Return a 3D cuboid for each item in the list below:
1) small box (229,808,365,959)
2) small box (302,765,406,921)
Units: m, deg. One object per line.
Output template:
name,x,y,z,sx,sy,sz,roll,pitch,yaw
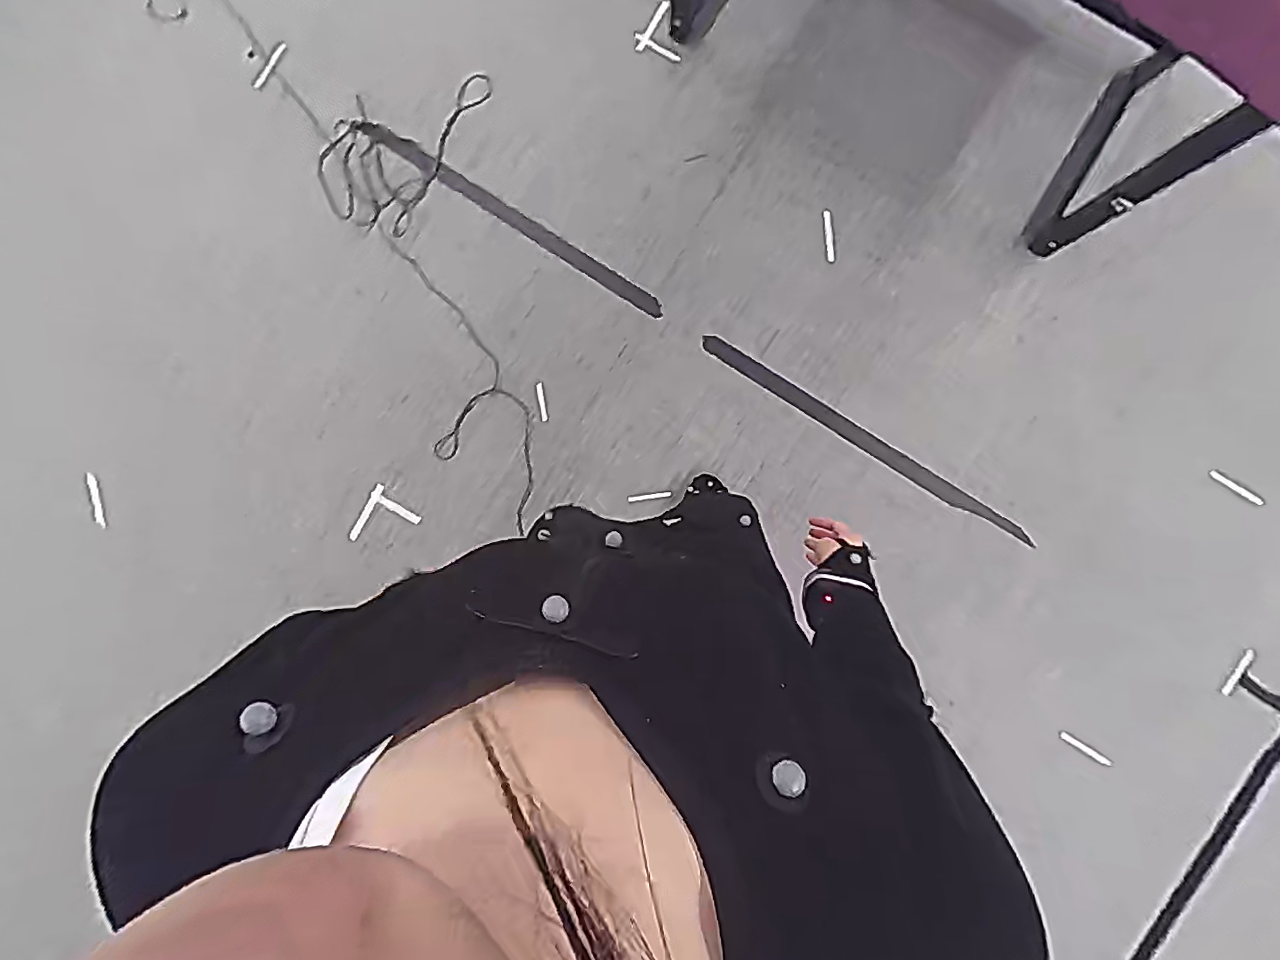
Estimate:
small box,-0.632,0.742,0.973,0.168,0.176,0.179,27,92,3
small box,-0.626,0.749,1.134,0.168,0.176,0.179,29,90,1
